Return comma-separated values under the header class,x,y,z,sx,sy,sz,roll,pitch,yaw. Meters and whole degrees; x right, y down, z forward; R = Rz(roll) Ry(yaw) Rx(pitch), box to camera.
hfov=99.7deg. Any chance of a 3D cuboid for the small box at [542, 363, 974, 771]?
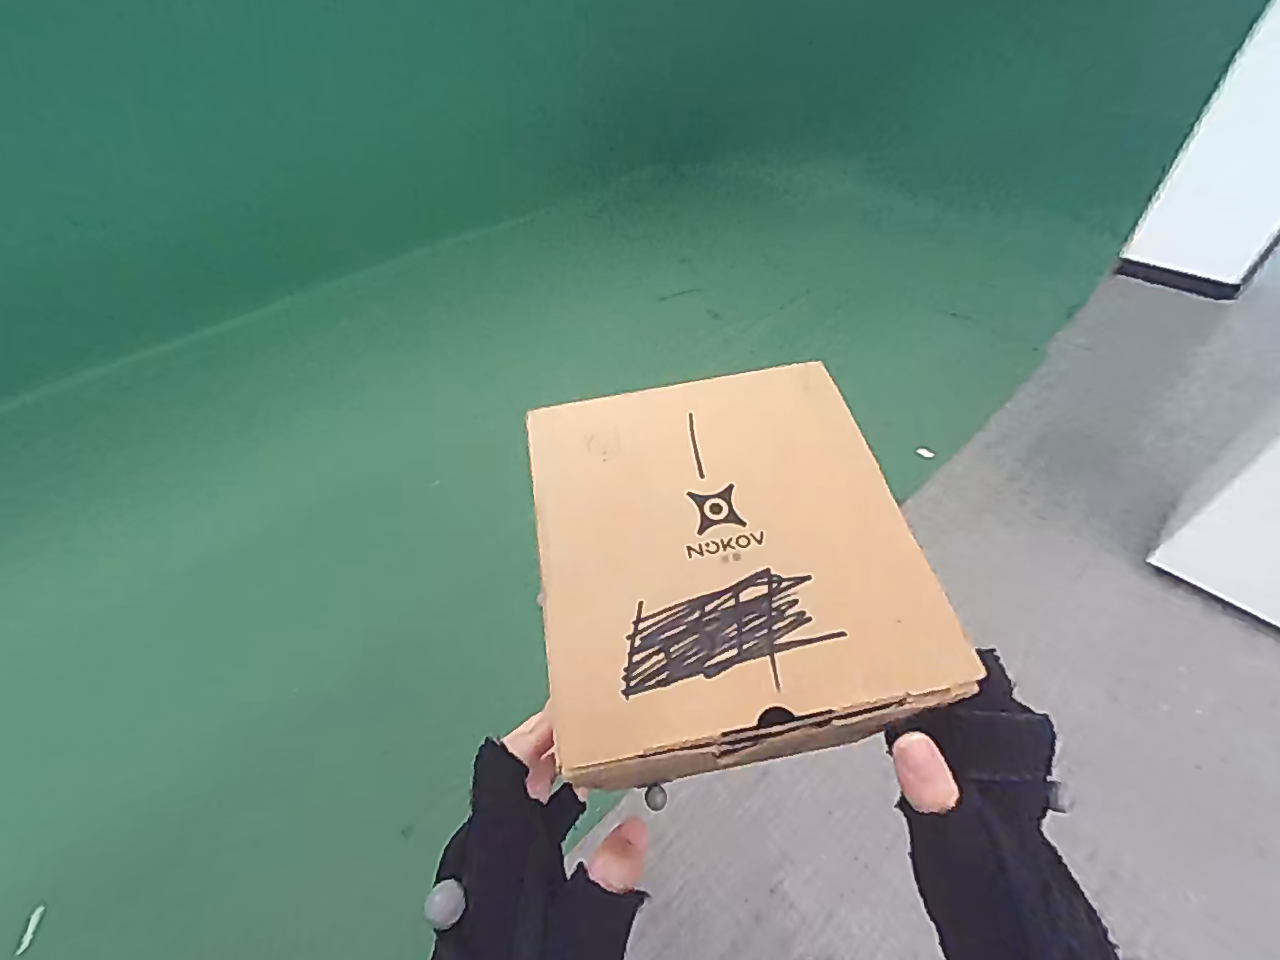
class,x,y,z,sx,sy,sz,roll,pitch,yaw
small box,0.046,0.063,0.321,0.168,0.176,0.179,-10,58,-2
